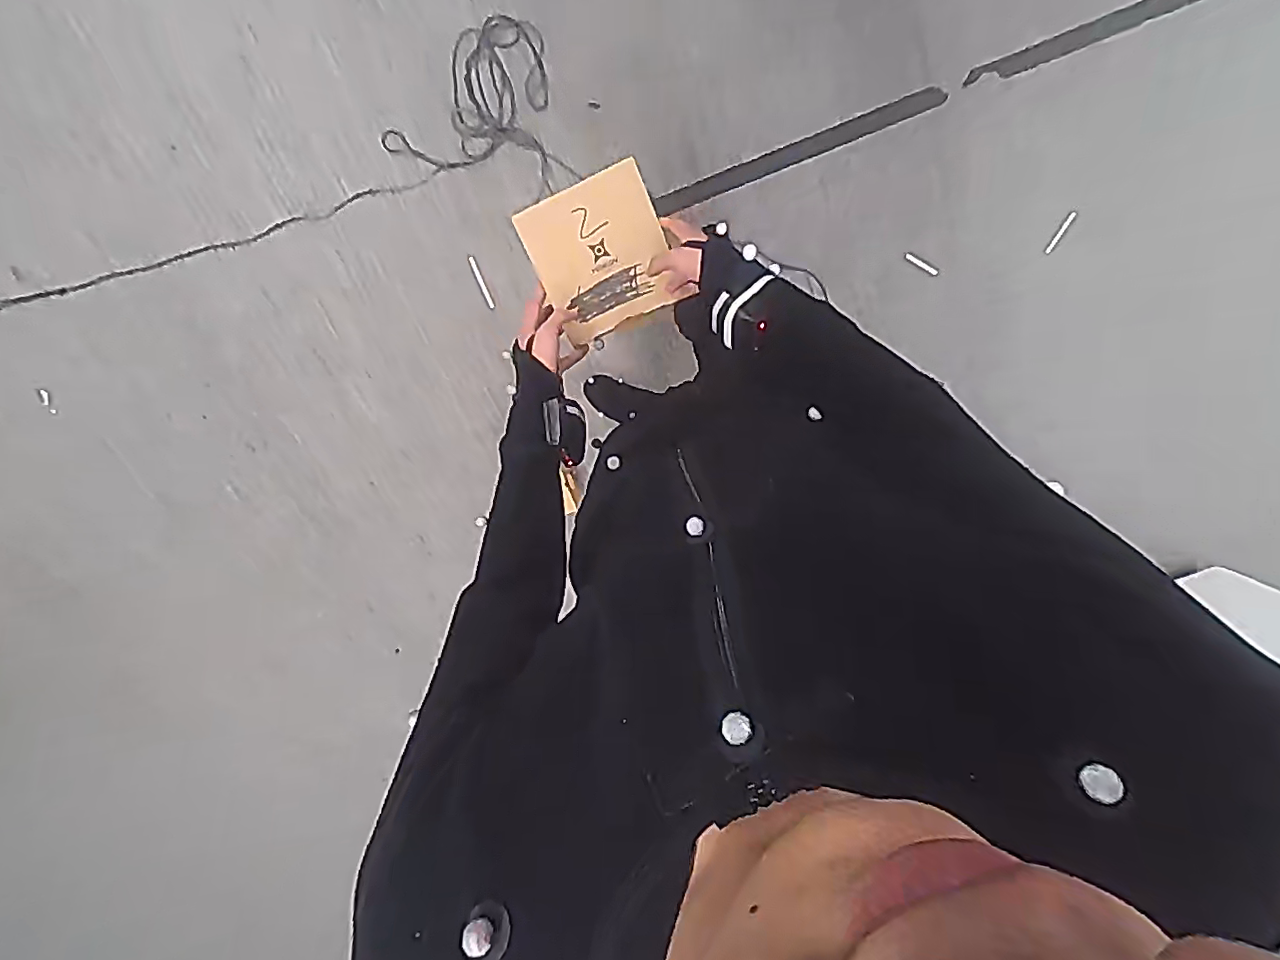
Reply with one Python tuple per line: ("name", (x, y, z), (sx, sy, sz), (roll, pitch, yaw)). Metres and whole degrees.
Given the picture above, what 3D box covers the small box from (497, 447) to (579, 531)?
("small box", (-0.283, 0.020, 1.544), (0.179, 0.176, 0.168), (-18, 108, 2))
